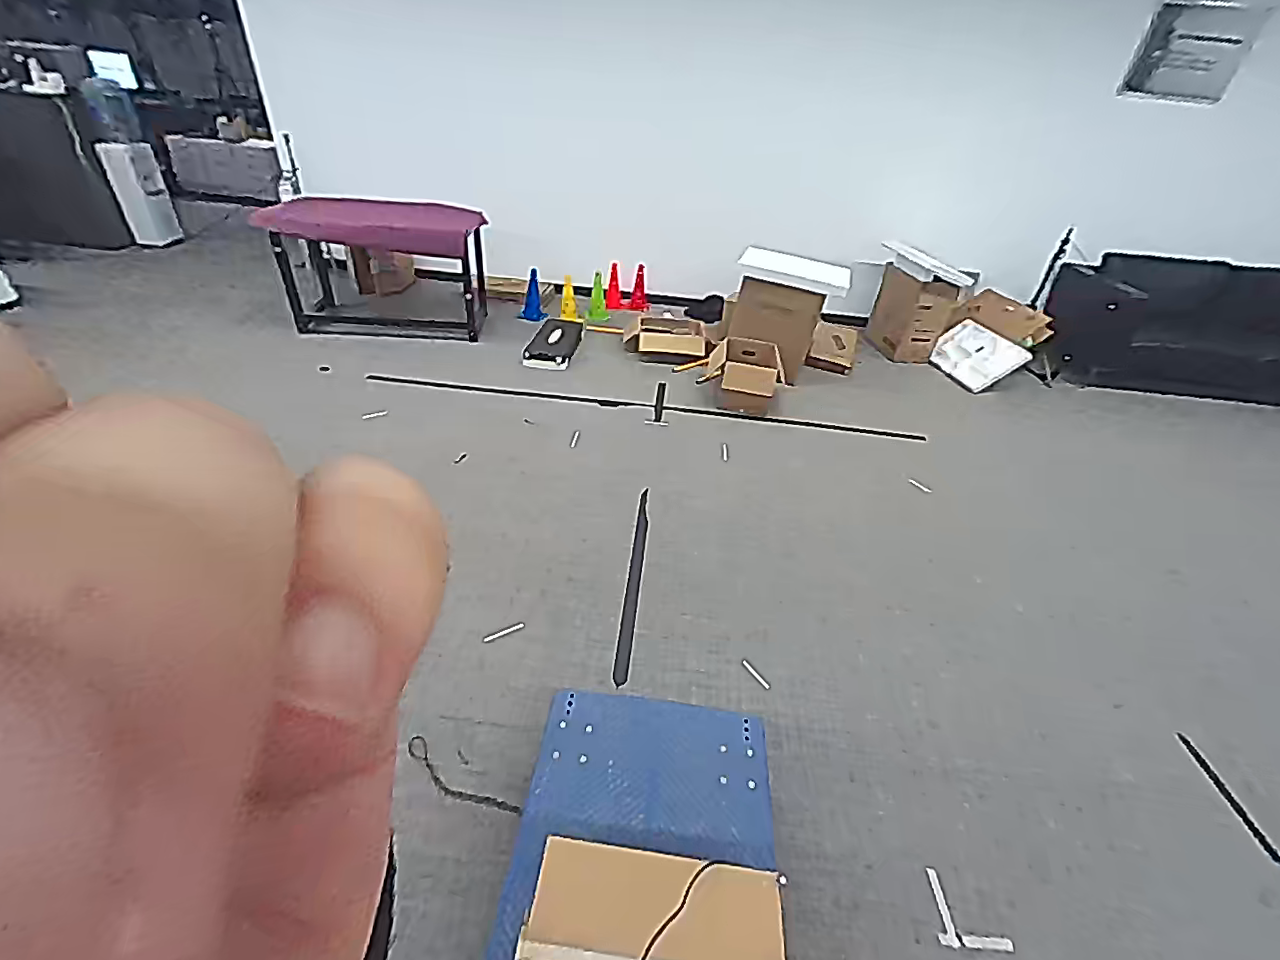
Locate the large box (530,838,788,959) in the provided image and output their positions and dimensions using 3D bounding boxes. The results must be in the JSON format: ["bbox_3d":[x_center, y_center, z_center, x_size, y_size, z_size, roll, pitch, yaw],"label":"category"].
[{"bbox_3d":[0.016,0.859,0.908,0.408,0.320,0.320,8,37,1],"label":"large box"}]
